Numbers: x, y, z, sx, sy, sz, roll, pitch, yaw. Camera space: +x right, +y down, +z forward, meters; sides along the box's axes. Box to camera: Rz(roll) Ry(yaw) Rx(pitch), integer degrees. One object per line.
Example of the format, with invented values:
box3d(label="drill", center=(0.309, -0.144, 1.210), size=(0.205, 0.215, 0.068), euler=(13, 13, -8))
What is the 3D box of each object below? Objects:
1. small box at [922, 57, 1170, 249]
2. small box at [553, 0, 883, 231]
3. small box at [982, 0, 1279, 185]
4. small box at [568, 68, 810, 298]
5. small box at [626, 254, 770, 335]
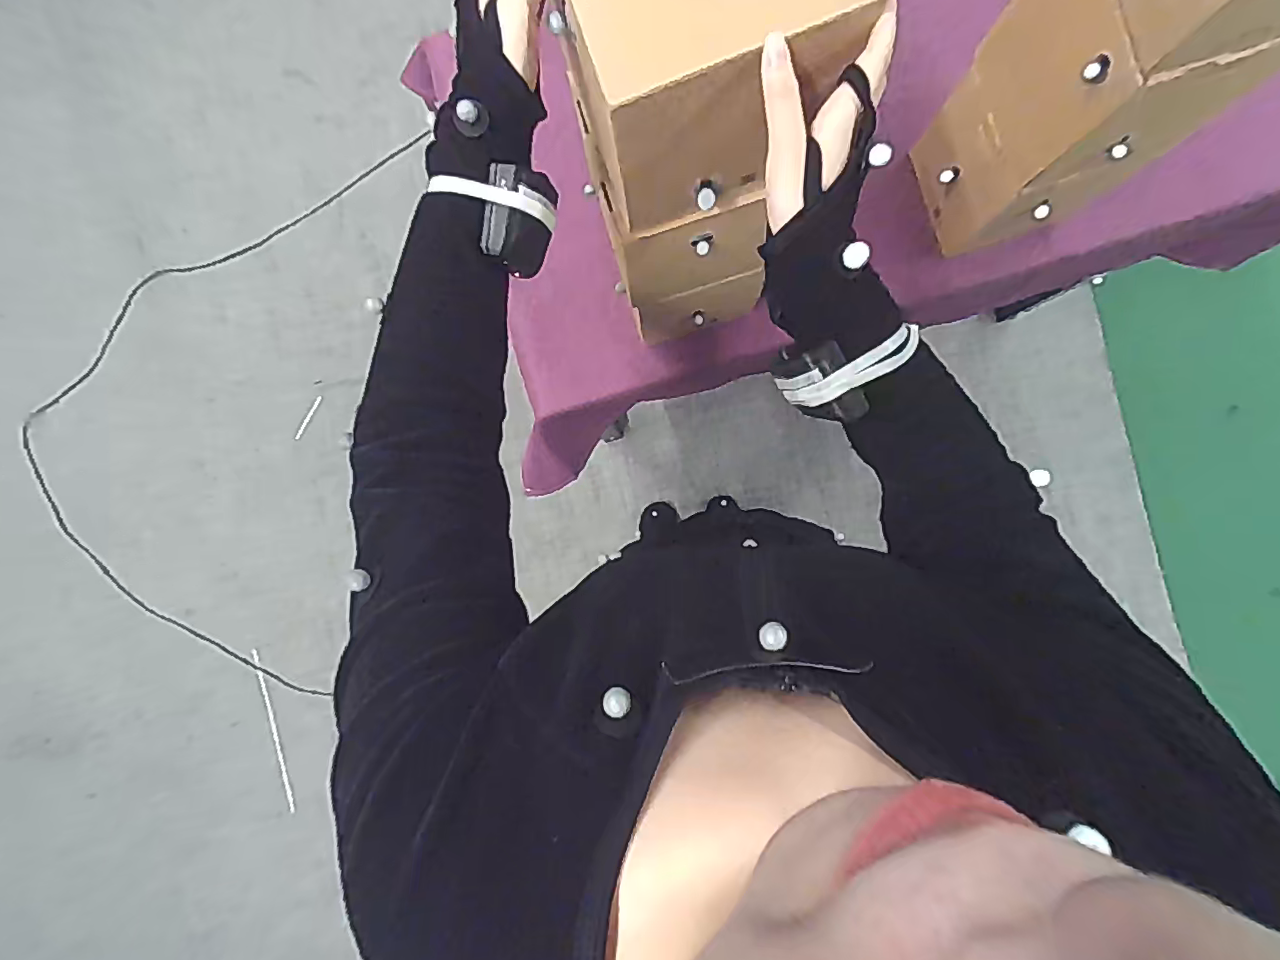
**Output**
box3d(label="small box", center=(0.487, -0.422, 0.684), size=(0.179, 0.176, 0.168), euler=(-17, 89, 4))
box3d(label="small box", center=(0.034, -0.316, 0.380), size=(0.168, 0.176, 0.179), euler=(-20, 89, 4))
box3d(label="small box", center=(0.472, -0.431, 0.522), size=(0.168, 0.176, 0.179), euler=(-16, 89, 3))
box3d(label="small box", center=(0.045, -0.306, 0.543), size=(0.179, 0.176, 0.168), euler=(-17, 88, 2))
box3d(label="small box", center=(0.056, -0.304, 0.708), size=(0.168, 0.176, 0.179), euler=(-17, 88, 2))
